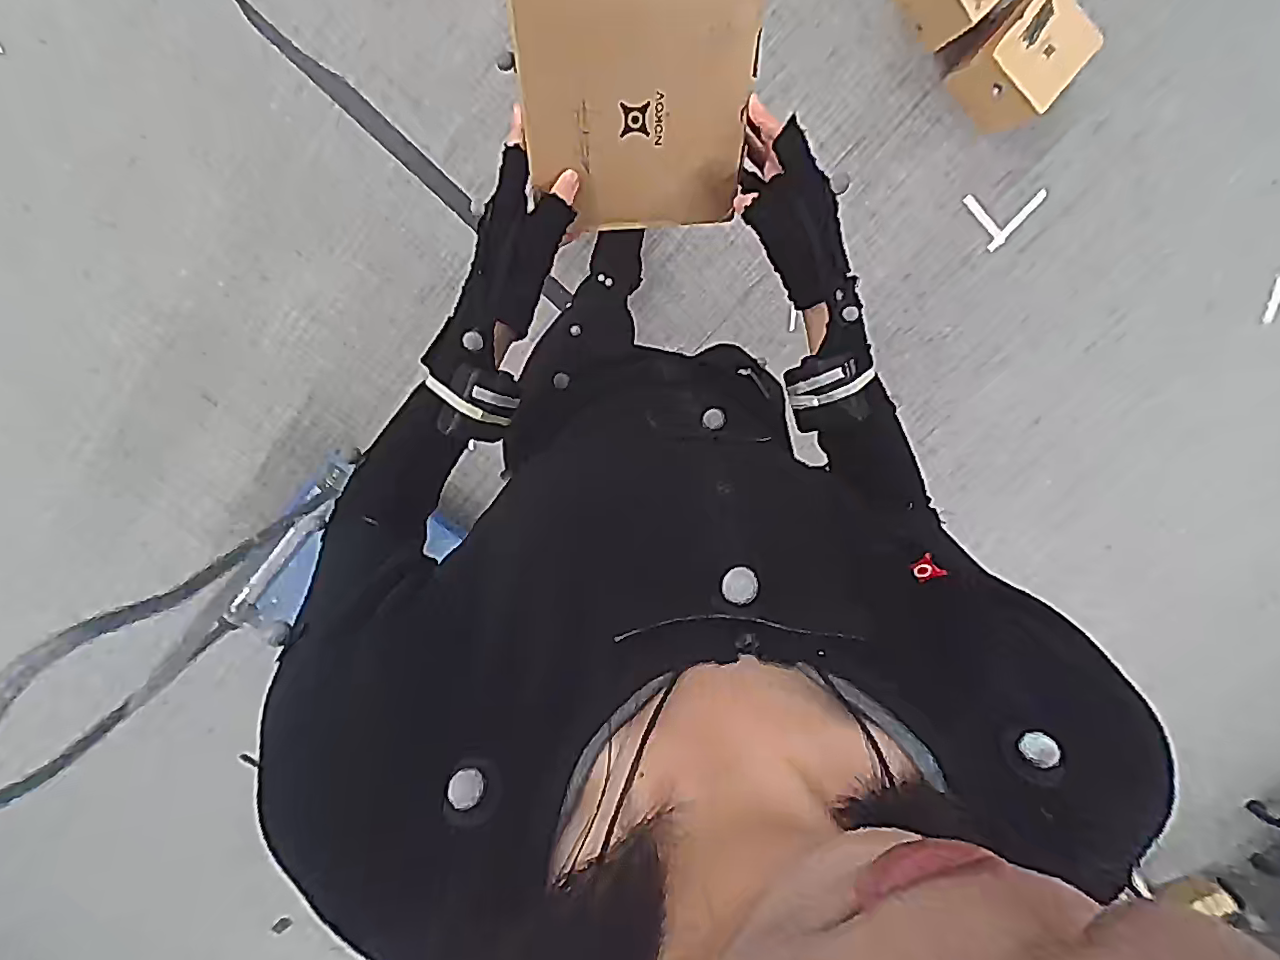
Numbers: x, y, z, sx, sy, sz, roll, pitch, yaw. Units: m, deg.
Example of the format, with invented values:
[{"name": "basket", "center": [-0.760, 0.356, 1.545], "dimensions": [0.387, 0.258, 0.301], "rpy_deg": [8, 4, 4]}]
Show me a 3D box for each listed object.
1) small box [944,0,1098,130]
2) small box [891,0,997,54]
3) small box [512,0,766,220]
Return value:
[{"name": "small box", "center": [0.809, -0.900, 1.168], "dimensions": [0.179, 0.176, 0.168], "rpy_deg": [35, 105, -16]}, {"name": "small box", "center": [0.657, -1.038, 1.106], "dimensions": [0.179, 0.176, 0.168], "rpy_deg": [-43, 107, 12]}, {"name": "small box", "center": [-0.011, -0.342, 0.459], "dimensions": [0.179, 0.176, 0.168], "rpy_deg": [-6, 138, -6]}]
